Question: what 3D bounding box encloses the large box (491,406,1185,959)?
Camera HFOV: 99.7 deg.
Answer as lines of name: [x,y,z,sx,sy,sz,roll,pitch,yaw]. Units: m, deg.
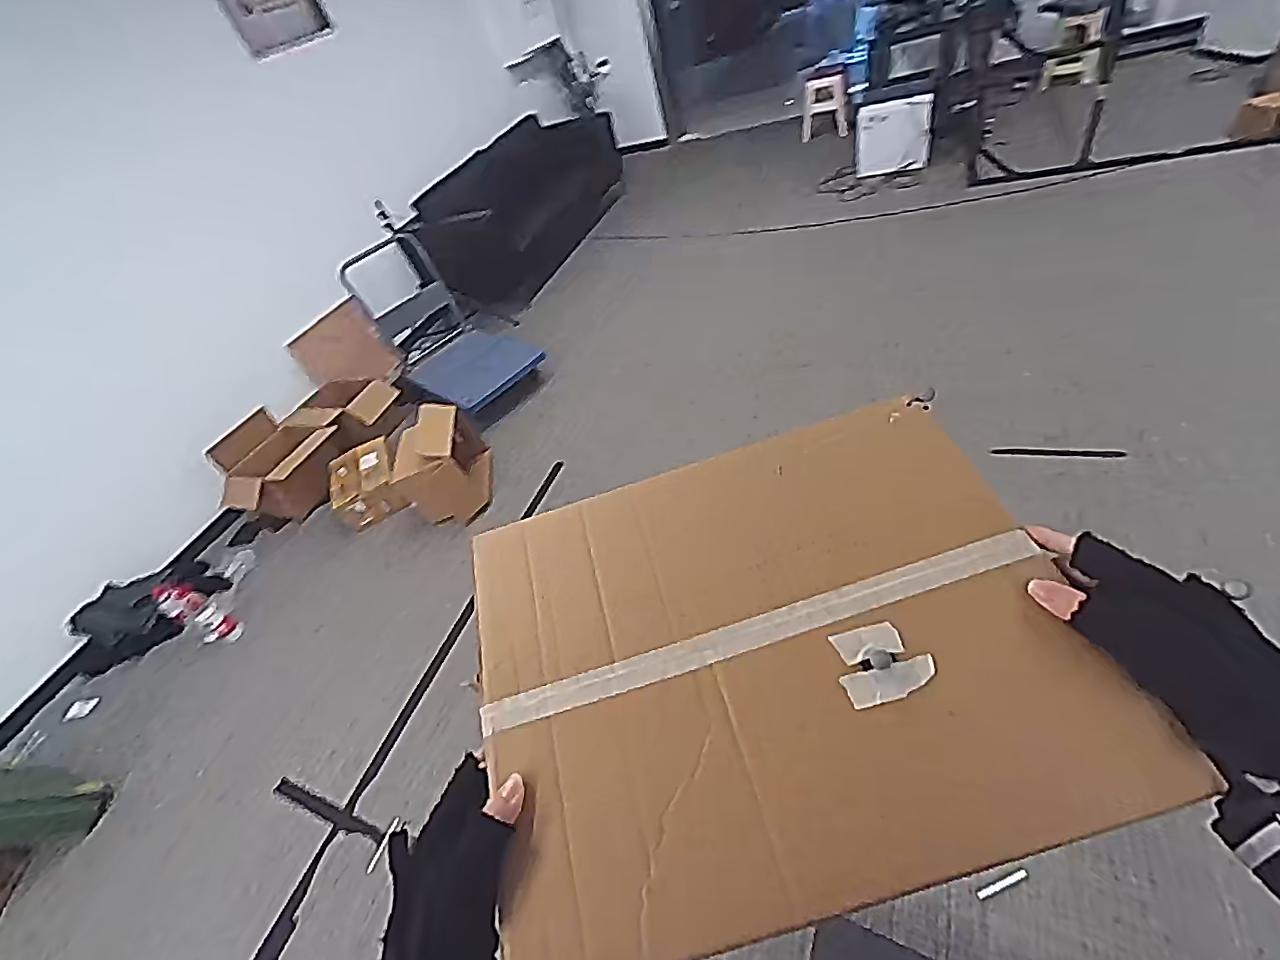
large box: [0.117,0.196,0.516,0.408,0.320,0.320,-18,54,1]
